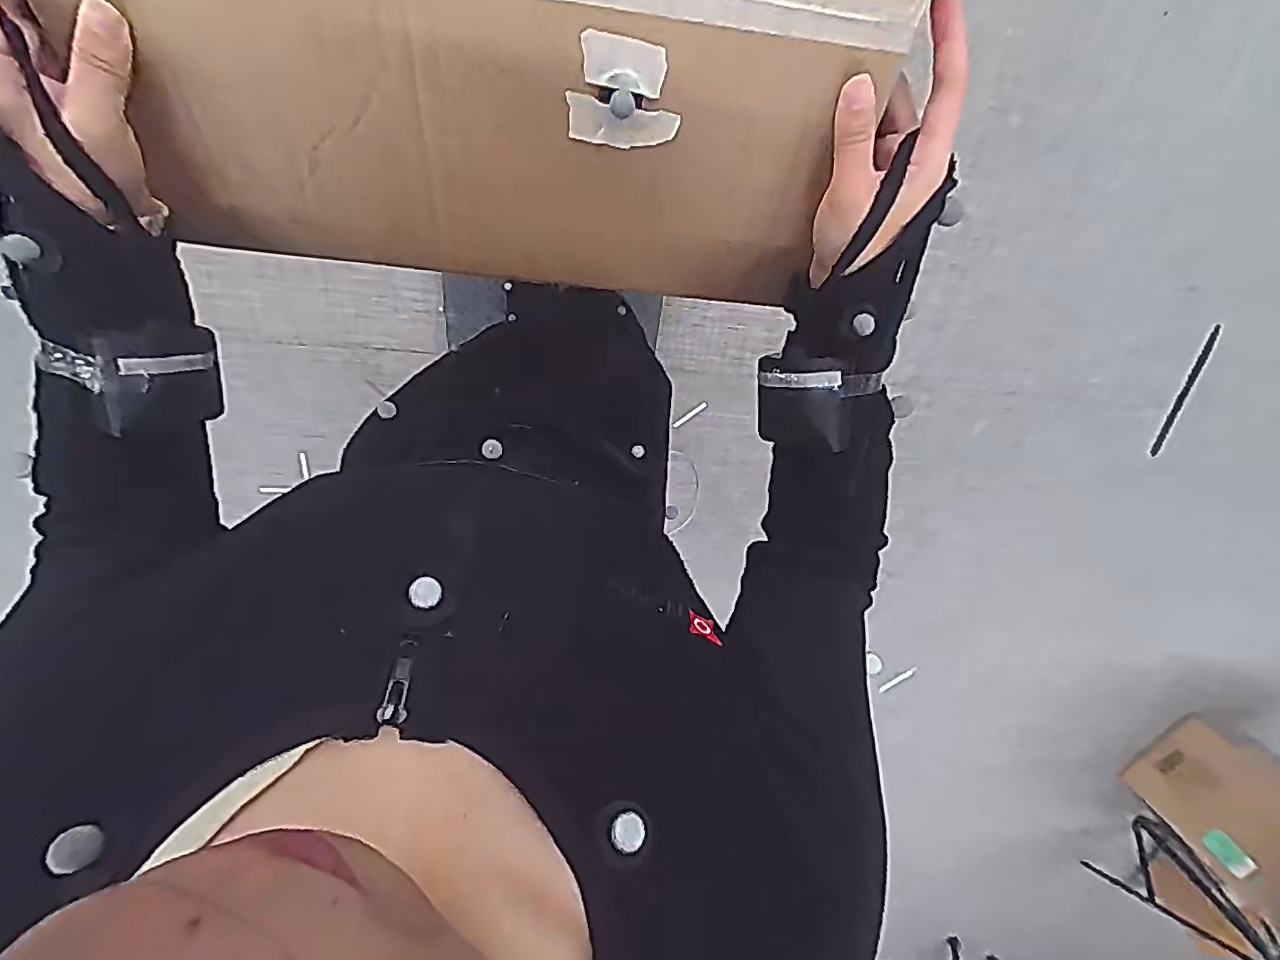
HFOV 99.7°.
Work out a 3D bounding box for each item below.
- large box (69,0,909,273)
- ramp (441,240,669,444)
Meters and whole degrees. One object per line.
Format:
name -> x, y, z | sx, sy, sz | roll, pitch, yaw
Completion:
large box -> -0.070, -0.363, 0.330 | 0.408, 0.320, 0.320 | 3, 142, -7
ramp -> -0.172, -0.511, 1.156 | 0.509, 0.206, 0.991 | 1, 116, -8
